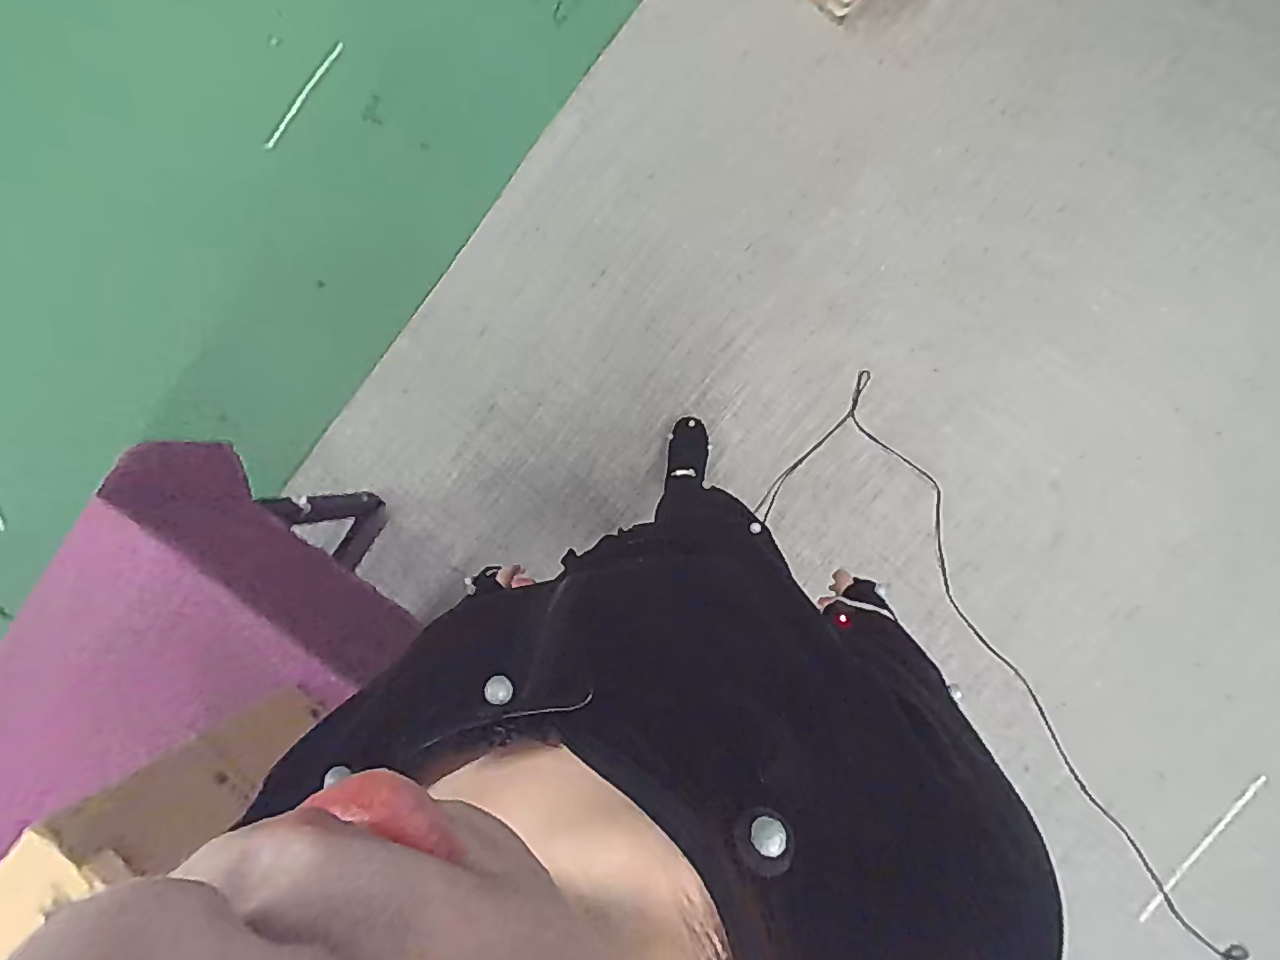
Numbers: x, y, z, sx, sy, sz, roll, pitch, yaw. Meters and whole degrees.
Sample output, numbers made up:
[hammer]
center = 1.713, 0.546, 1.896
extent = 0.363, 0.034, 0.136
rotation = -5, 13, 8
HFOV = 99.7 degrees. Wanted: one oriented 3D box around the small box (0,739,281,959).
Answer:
[small box]
center = -0.530, 0.419, 0.571
extent = 0.168, 0.176, 0.179
rotation = 40, 95, 4
